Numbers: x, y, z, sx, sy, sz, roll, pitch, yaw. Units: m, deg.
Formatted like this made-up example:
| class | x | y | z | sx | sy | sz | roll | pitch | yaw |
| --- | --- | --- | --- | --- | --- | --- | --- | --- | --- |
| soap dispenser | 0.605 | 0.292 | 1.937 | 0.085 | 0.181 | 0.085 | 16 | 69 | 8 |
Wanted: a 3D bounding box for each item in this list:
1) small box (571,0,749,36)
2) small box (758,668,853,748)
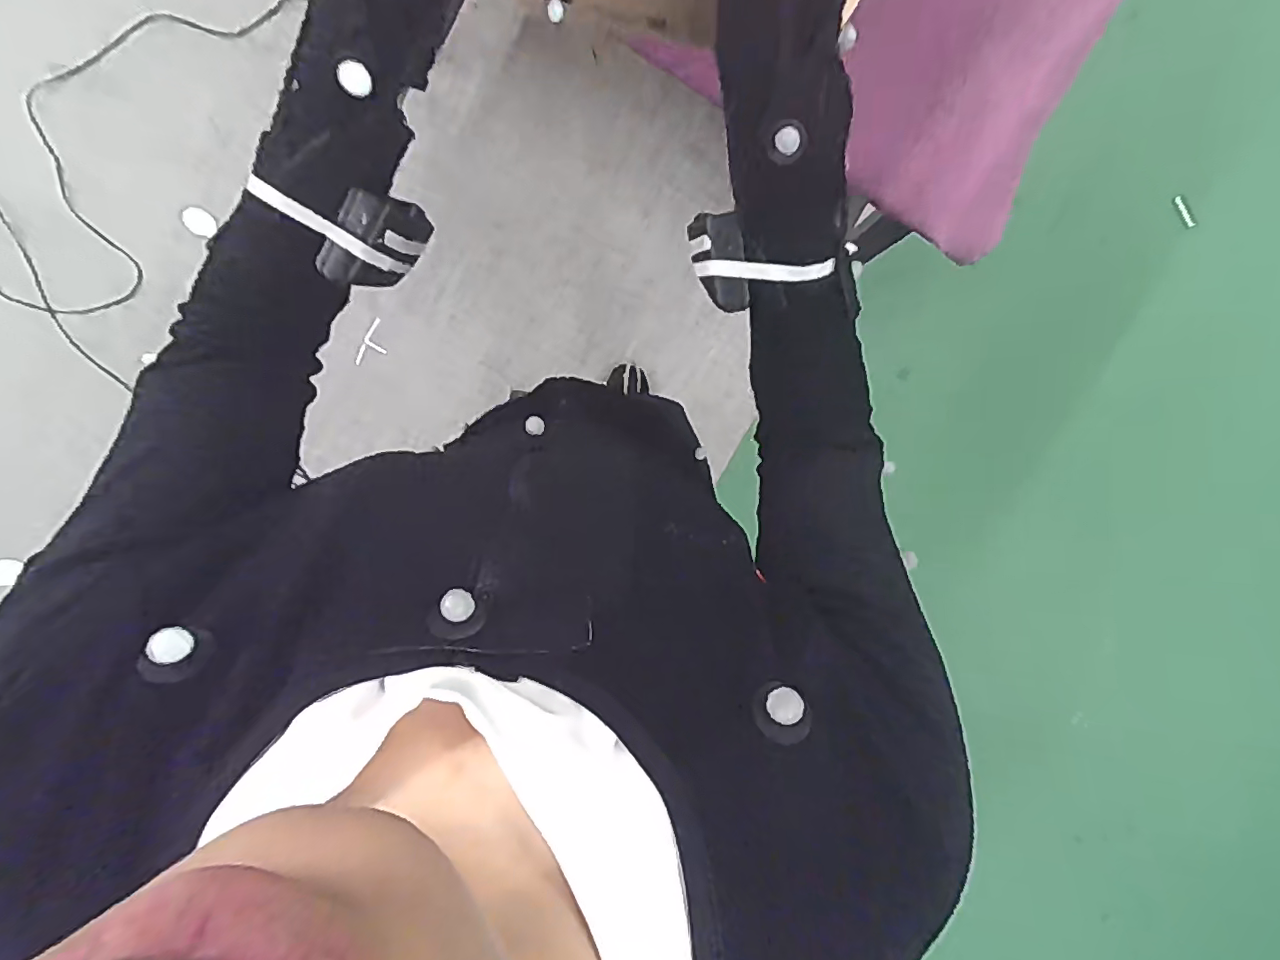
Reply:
| class | x | y | z | sx | sy | sz | roll | pitch | yaw |
| --- | --- | --- | --- | --- | --- | --- | --- | --- | --- |
| small box | 0.008 | -0.405 | 0.308 | 0.168 | 0.176 | 0.179 | 10 | 103 | -2 |
| small box | 0.449 | 0.646 | 1.472 | 0.179 | 0.176 | 0.168 | 28 | 96 | -4 |
